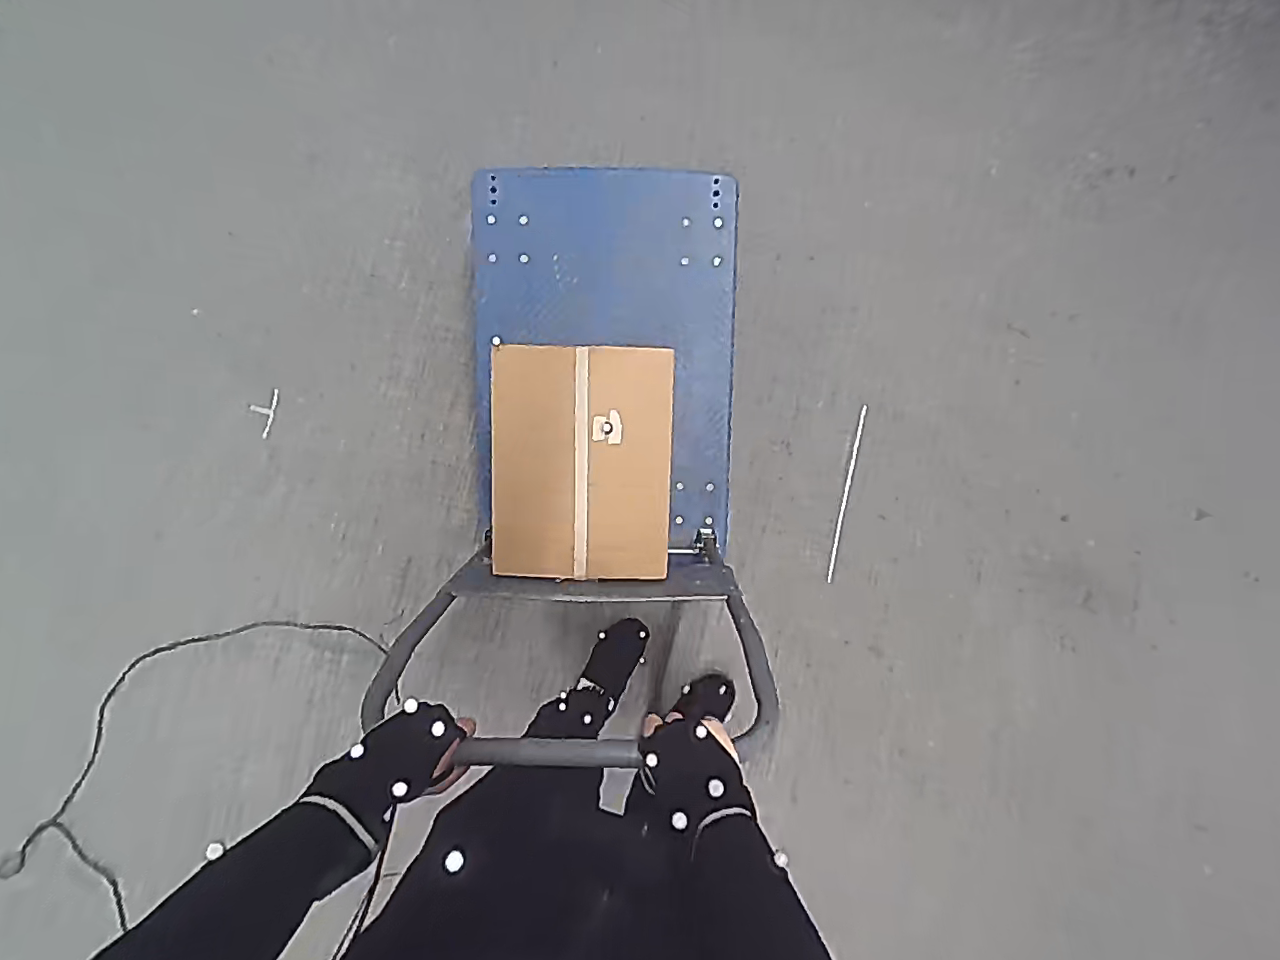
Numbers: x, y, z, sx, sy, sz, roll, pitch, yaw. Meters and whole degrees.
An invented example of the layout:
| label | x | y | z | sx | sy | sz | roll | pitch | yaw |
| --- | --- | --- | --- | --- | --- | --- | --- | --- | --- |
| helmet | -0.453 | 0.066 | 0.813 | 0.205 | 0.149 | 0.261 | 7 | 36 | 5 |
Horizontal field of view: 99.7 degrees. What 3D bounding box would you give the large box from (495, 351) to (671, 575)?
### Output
| label | x | y | z | sx | sy | sz | roll | pitch | yaw |
| --- | --- | --- | --- | --- | --- | --- | --- | --- | --- |
| large box | -0.100 | -0.039 | 1.110 | 0.320 | 0.320 | 0.408 | 1 | 96 | 0 |
